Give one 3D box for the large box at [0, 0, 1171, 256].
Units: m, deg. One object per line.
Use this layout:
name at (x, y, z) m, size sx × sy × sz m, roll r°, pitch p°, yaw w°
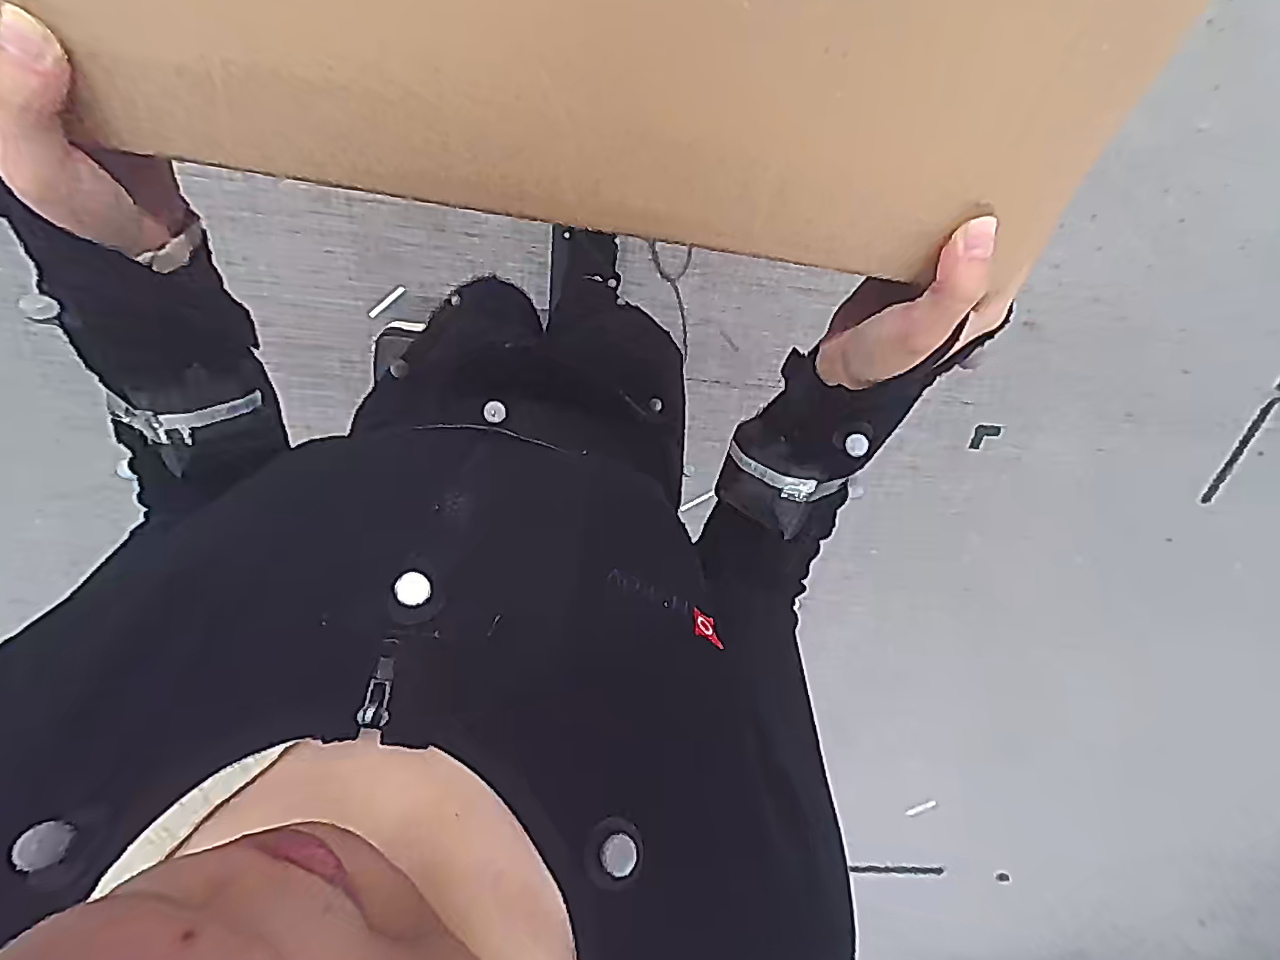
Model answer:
large box at (-0.011, -0.330, 0.221) m, size 0.408 × 0.320 × 0.320 m, roll 6°, pitch 137°, yaw -6°
